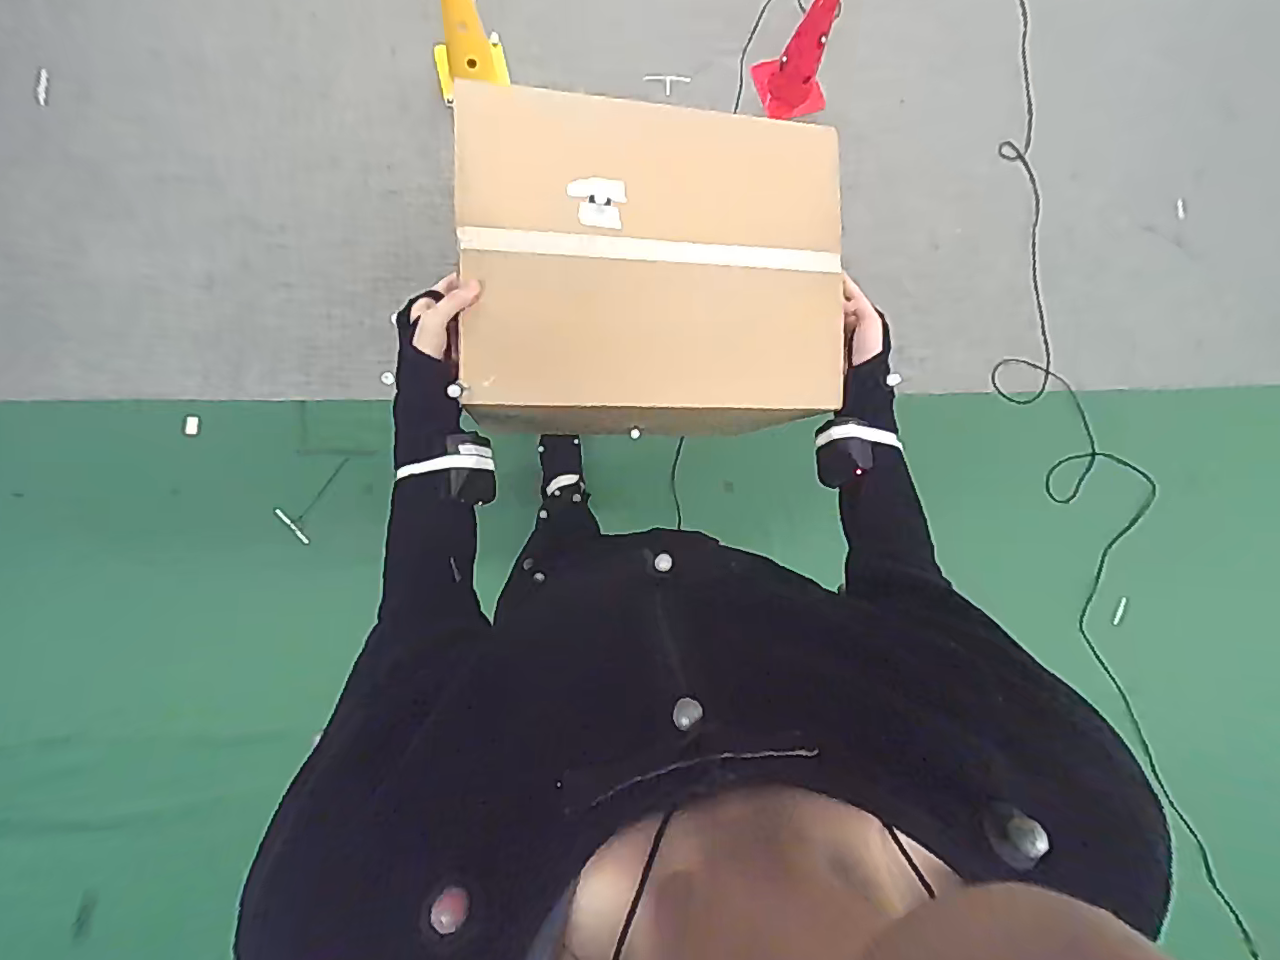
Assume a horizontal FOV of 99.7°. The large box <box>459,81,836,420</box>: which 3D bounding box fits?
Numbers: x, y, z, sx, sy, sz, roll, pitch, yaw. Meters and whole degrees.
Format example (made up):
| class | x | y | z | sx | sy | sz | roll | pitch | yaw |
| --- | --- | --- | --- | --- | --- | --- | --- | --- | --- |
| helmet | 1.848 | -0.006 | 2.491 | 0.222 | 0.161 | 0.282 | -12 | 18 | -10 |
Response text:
| class | x | y | z | sx | sy | sz | roll | pitch | yaw |
| --- | --- | --- | --- | --- | --- | --- | --- | --- | --- |
| large box | -0.004 | -0.246 | 0.711 | 0.408 | 0.320 | 0.320 | -1 | 89 | -11 |
